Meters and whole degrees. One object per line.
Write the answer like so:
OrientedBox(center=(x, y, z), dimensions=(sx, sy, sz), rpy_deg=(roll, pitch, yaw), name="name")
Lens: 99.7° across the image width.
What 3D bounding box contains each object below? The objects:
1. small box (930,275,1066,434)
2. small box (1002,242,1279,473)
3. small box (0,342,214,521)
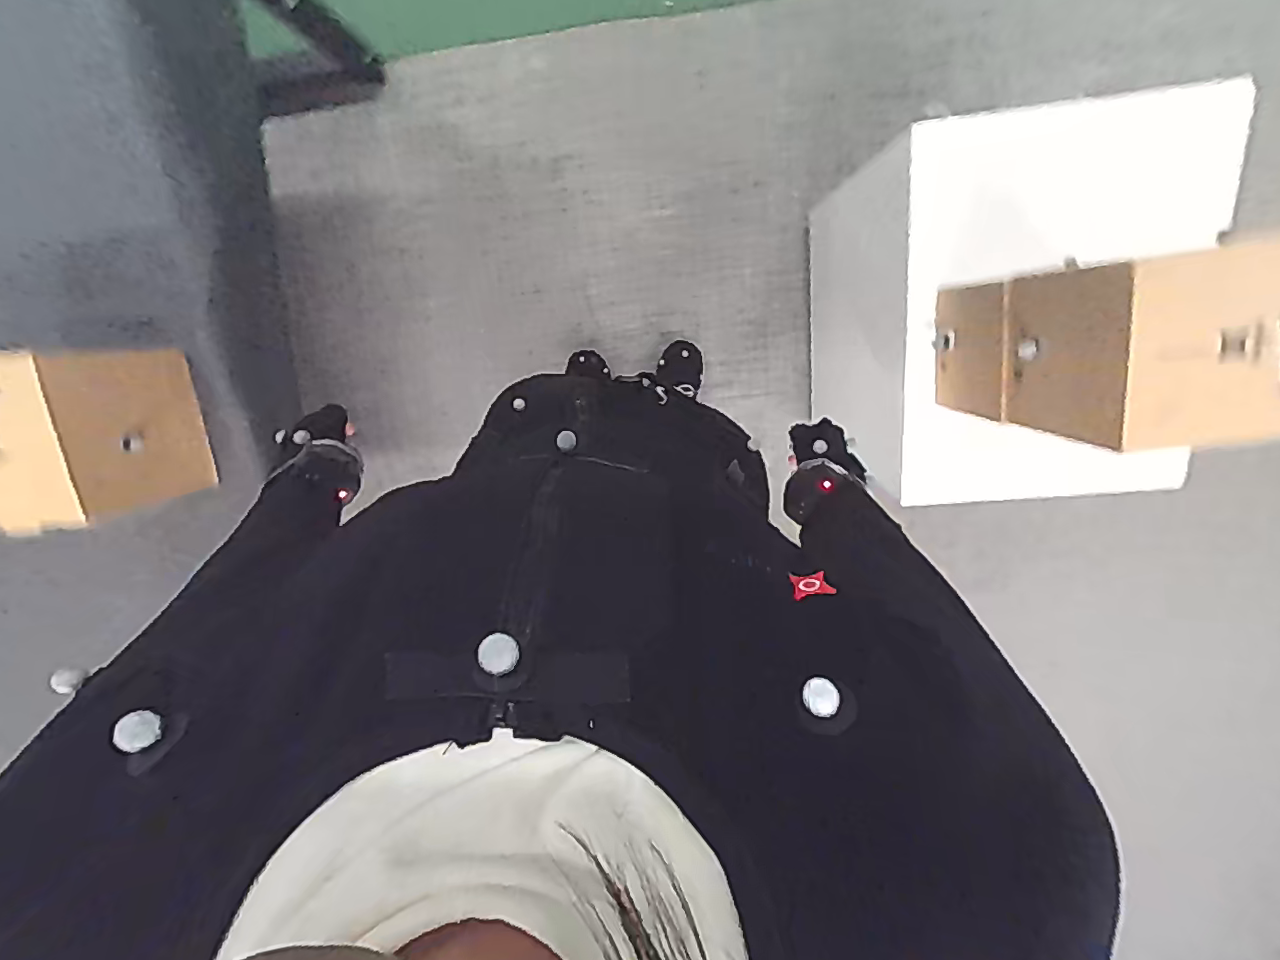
OrientedBox(center=(0.485, -0.160, 0.664), dimensions=(0.179, 0.176, 0.168), rpy_deg=(-6, 104, 7), name="small box")
OrientedBox(center=(0.480, -0.118, 0.505), dimensions=(0.179, 0.176, 0.168), rpy_deg=(-10, 105, 5), name="small box")
OrientedBox(center=(-0.648, -0.064, 0.626), dimensions=(0.168, 0.176, 0.179), rpy_deg=(-2, 106, 6), name="small box")
